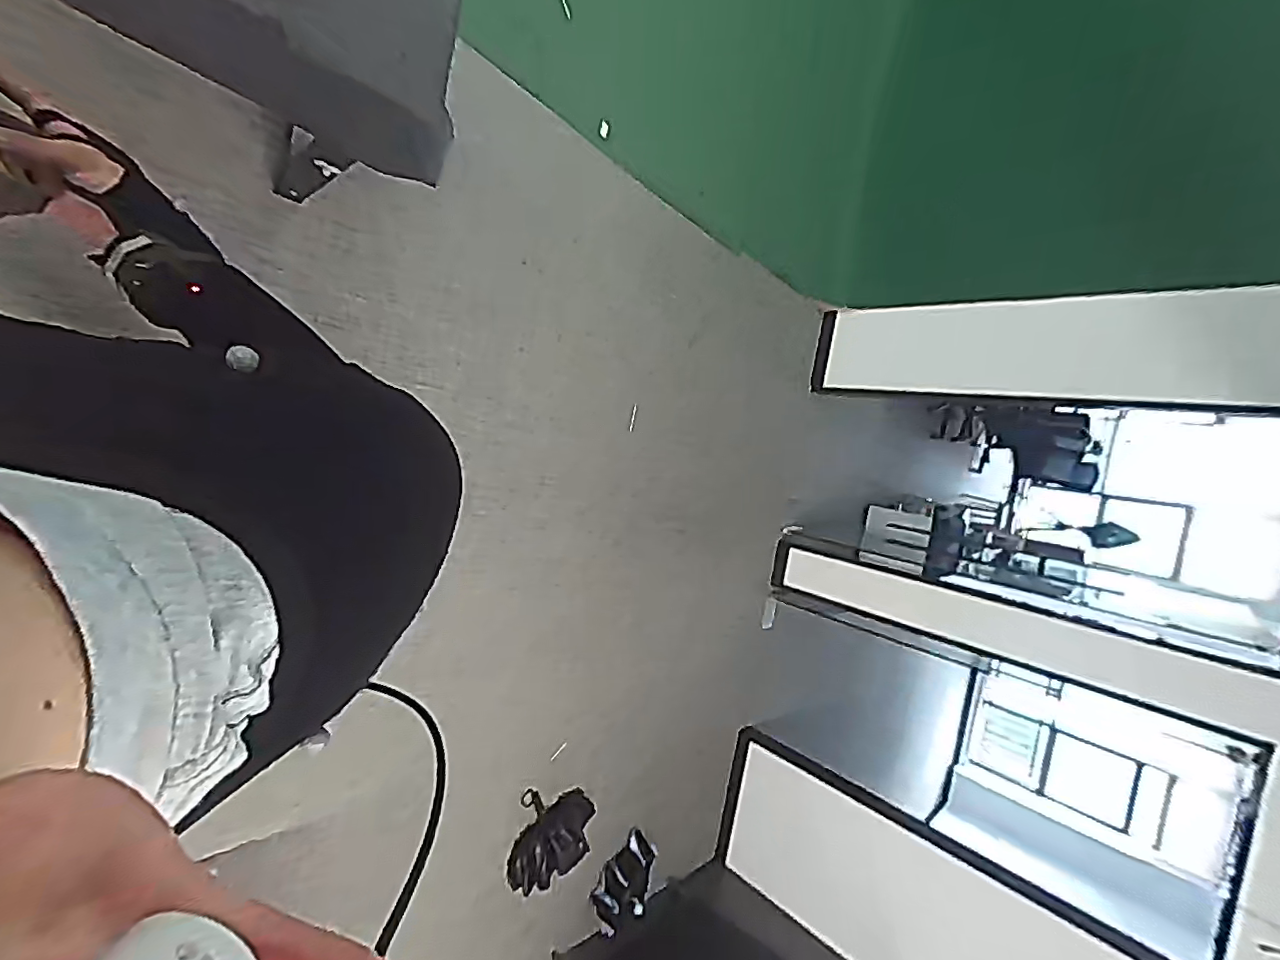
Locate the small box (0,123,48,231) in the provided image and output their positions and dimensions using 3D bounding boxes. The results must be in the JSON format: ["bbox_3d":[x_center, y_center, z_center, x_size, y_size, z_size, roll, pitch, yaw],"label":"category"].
[{"bbox_3d":[-0.549,-0.259,0.340,0.168,0.176,0.179,-29,116,-29],"label":"small box"}]
